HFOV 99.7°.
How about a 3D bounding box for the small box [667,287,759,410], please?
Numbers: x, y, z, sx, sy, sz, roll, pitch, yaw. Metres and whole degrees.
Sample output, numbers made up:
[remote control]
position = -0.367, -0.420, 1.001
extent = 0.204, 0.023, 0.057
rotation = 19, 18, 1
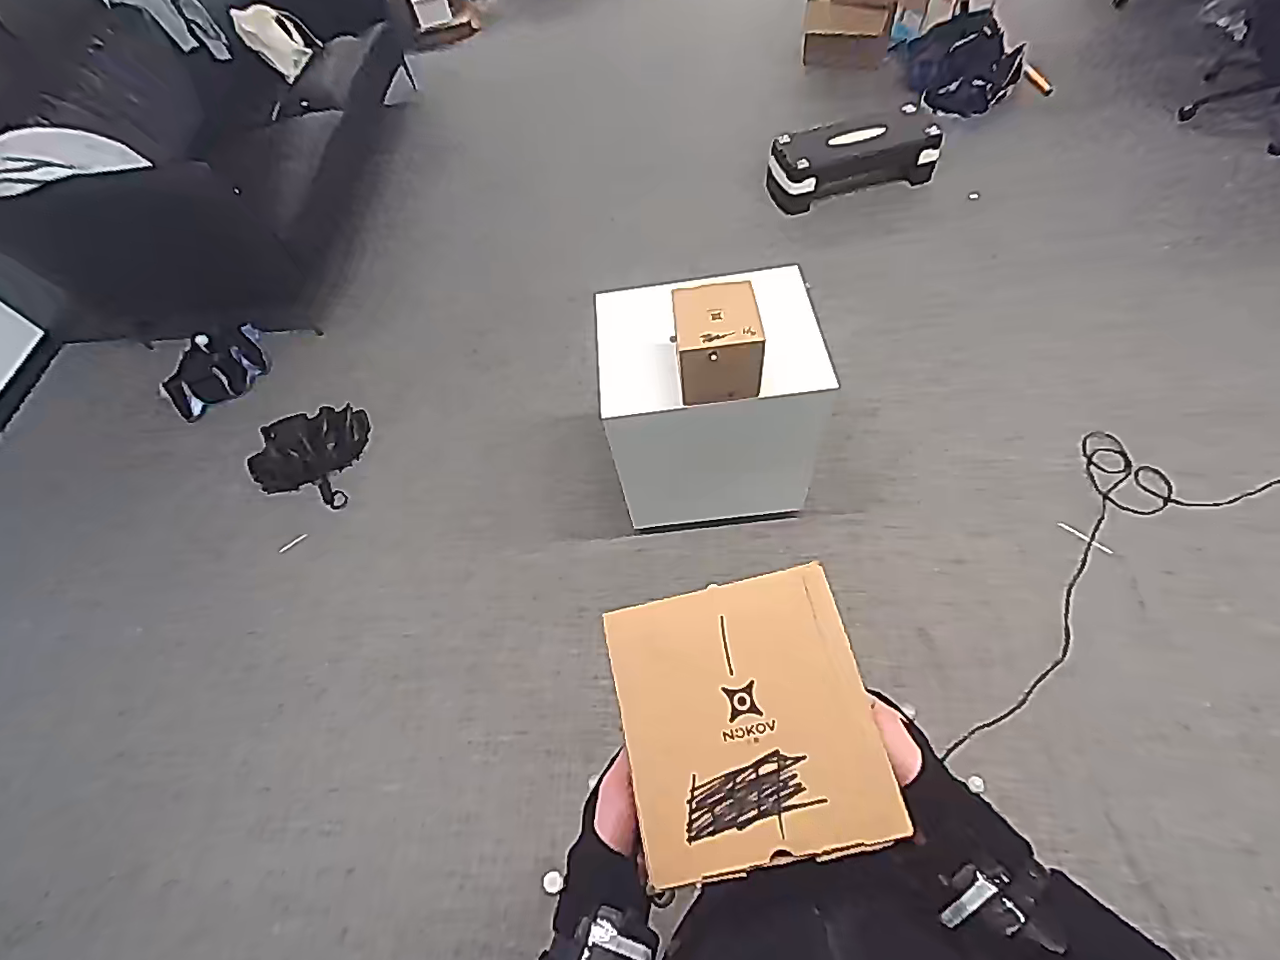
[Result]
[small box]
position = 0.147, -0.271, 1.130
extent = 0.168, 0.176, 0.179
rotation = -7, 57, 3
